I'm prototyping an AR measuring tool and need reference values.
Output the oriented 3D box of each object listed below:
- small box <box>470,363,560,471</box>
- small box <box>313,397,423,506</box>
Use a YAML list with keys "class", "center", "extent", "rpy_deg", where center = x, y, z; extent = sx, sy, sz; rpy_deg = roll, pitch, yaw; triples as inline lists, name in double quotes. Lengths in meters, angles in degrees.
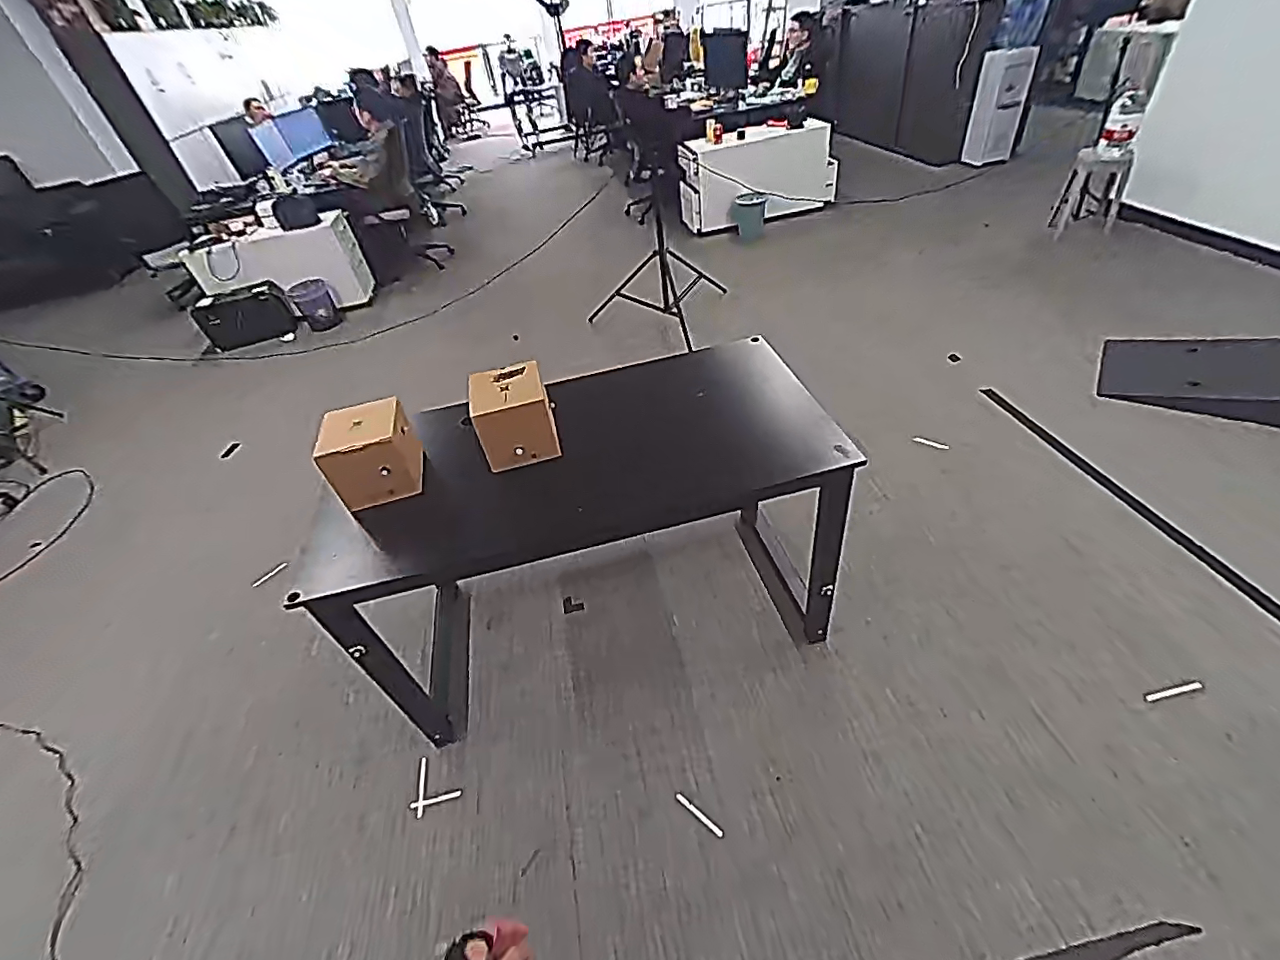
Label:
- class: "small box"
  center: [-0.293, -0.149, 1.276]
  extent: [0.168, 0.176, 0.179]
  rpy_deg: [-14, 43, -5]
- class: "small box"
  center: [-0.611, -0.060, 1.240]
  extent: [0.168, 0.176, 0.179]
  rpy_deg: [-15, 41, -8]
